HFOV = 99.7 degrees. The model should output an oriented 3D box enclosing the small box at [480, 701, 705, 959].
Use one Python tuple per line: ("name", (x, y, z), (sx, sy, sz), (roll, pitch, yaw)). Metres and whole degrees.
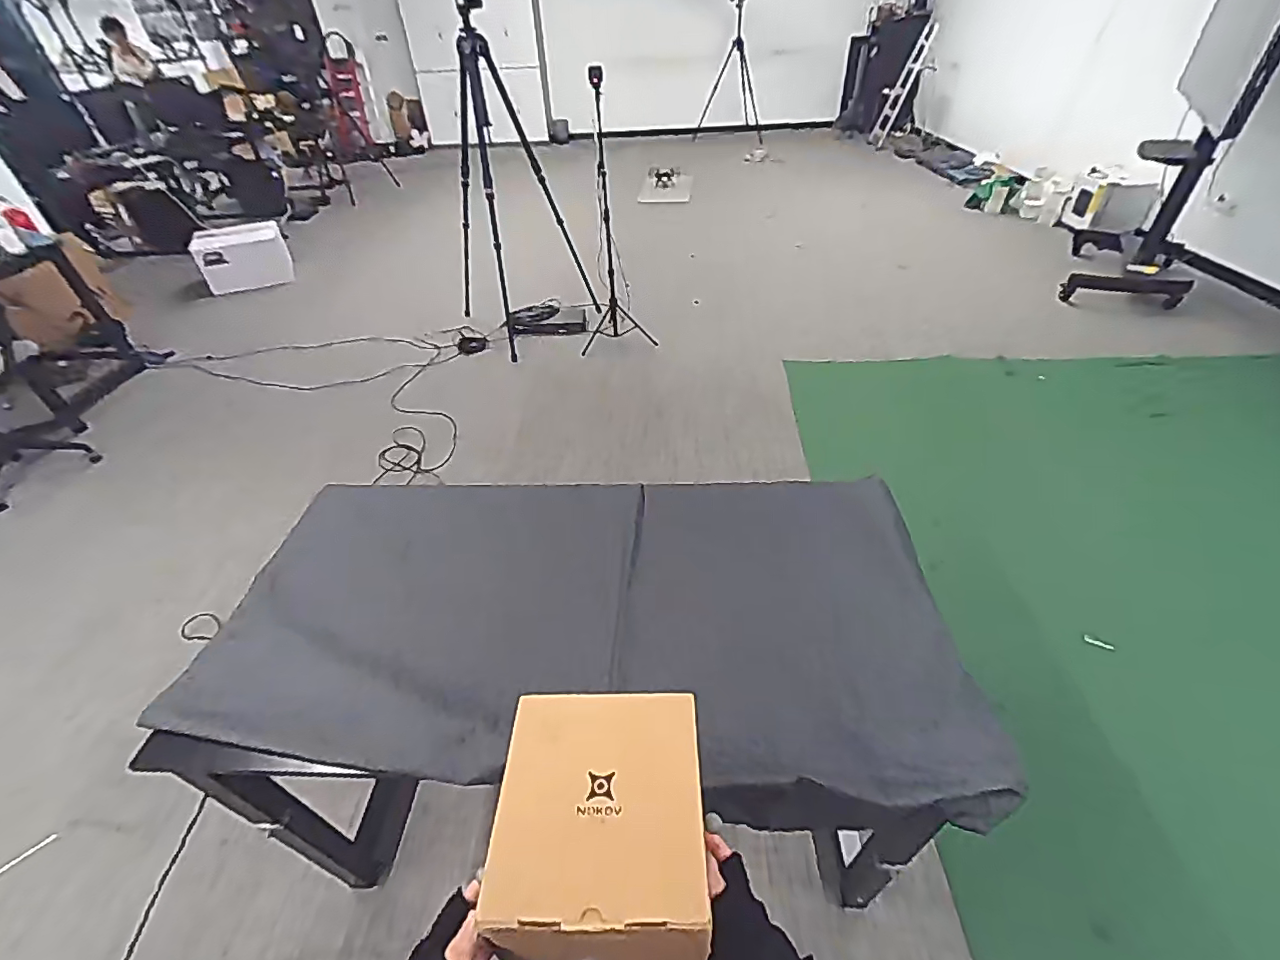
("small box", (-0.032, 0.329, 0.499), (0.168, 0.176, 0.179), (-1, 38, 2))
